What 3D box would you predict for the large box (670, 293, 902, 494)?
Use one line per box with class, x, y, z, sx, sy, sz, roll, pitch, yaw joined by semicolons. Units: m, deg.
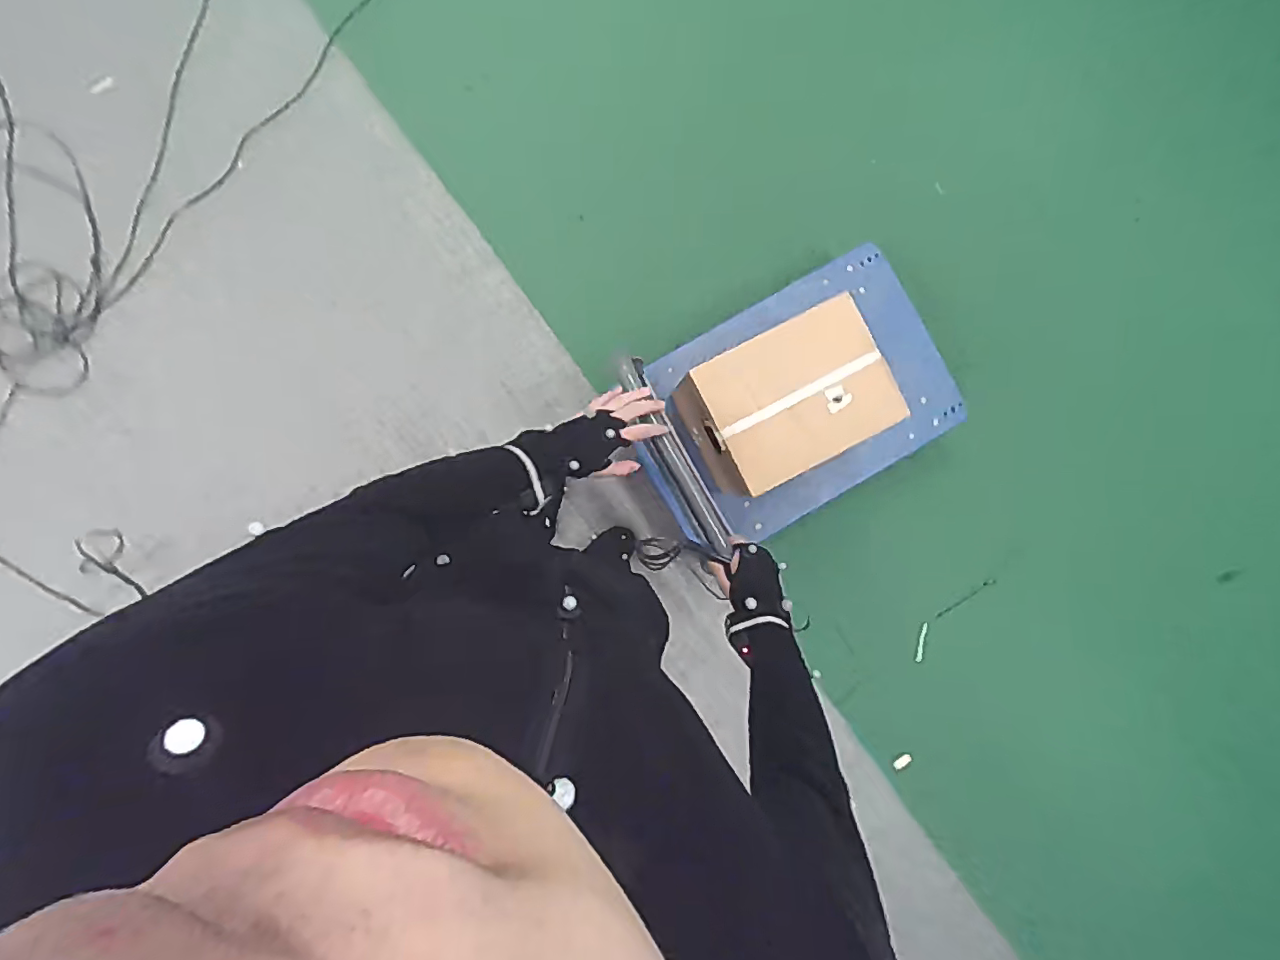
large box;0.332;-0.189;1.336;0.408;0.320;0.320;-27;92;-4
